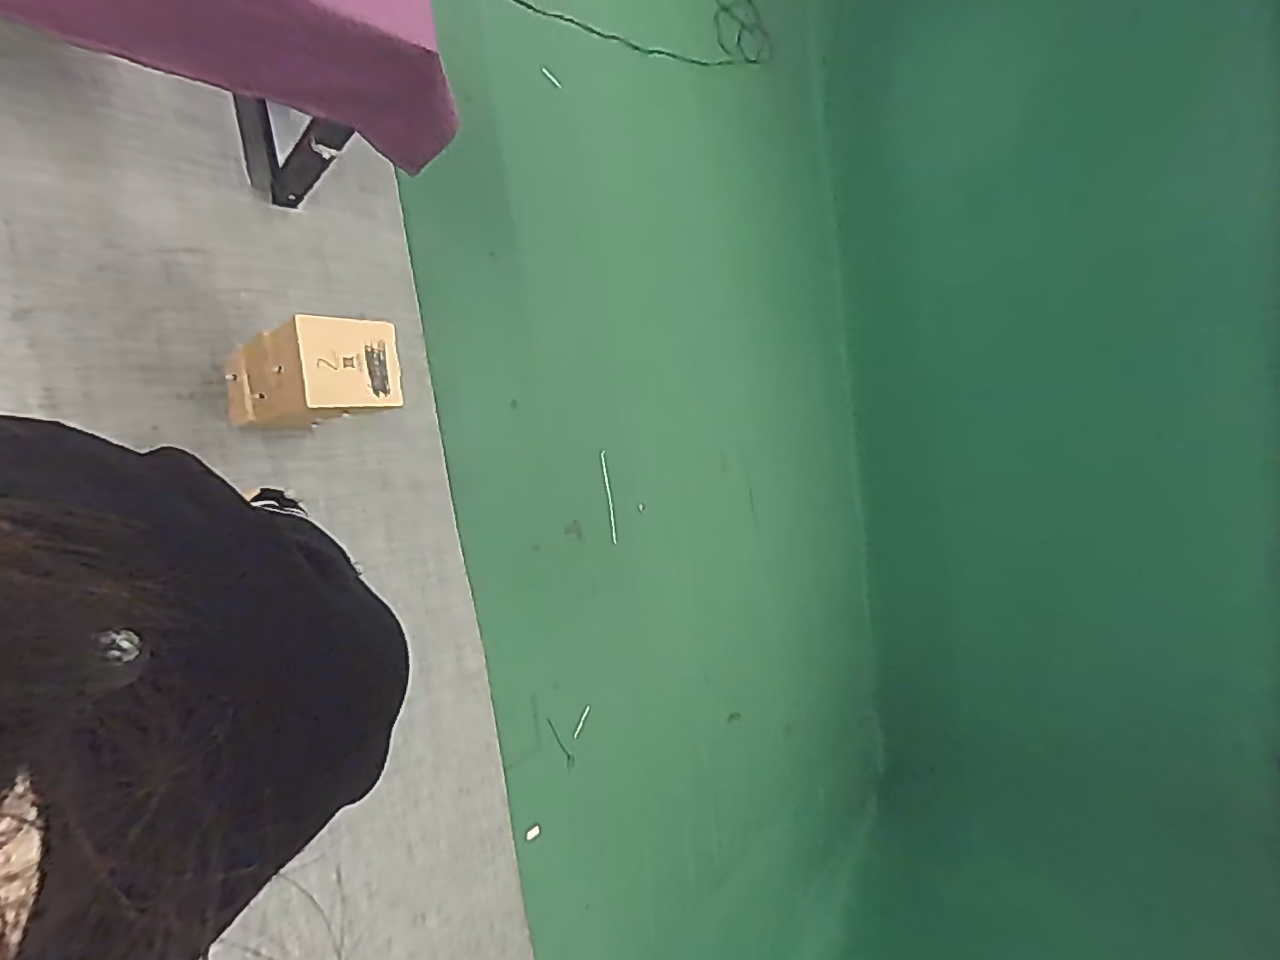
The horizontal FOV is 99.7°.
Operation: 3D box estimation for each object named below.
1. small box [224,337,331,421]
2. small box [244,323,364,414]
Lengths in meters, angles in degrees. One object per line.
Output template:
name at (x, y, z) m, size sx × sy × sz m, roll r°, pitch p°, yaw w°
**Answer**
small box at (-0.856, -0.230, 1.273) m, size 0.179 × 0.176 × 0.168 m, roll -9°, pitch 95°, yaw -48°
small box at (-0.730, -0.234, 1.170) m, size 0.179 × 0.176 × 0.168 m, roll -13°, pitch 99°, yaw -48°
